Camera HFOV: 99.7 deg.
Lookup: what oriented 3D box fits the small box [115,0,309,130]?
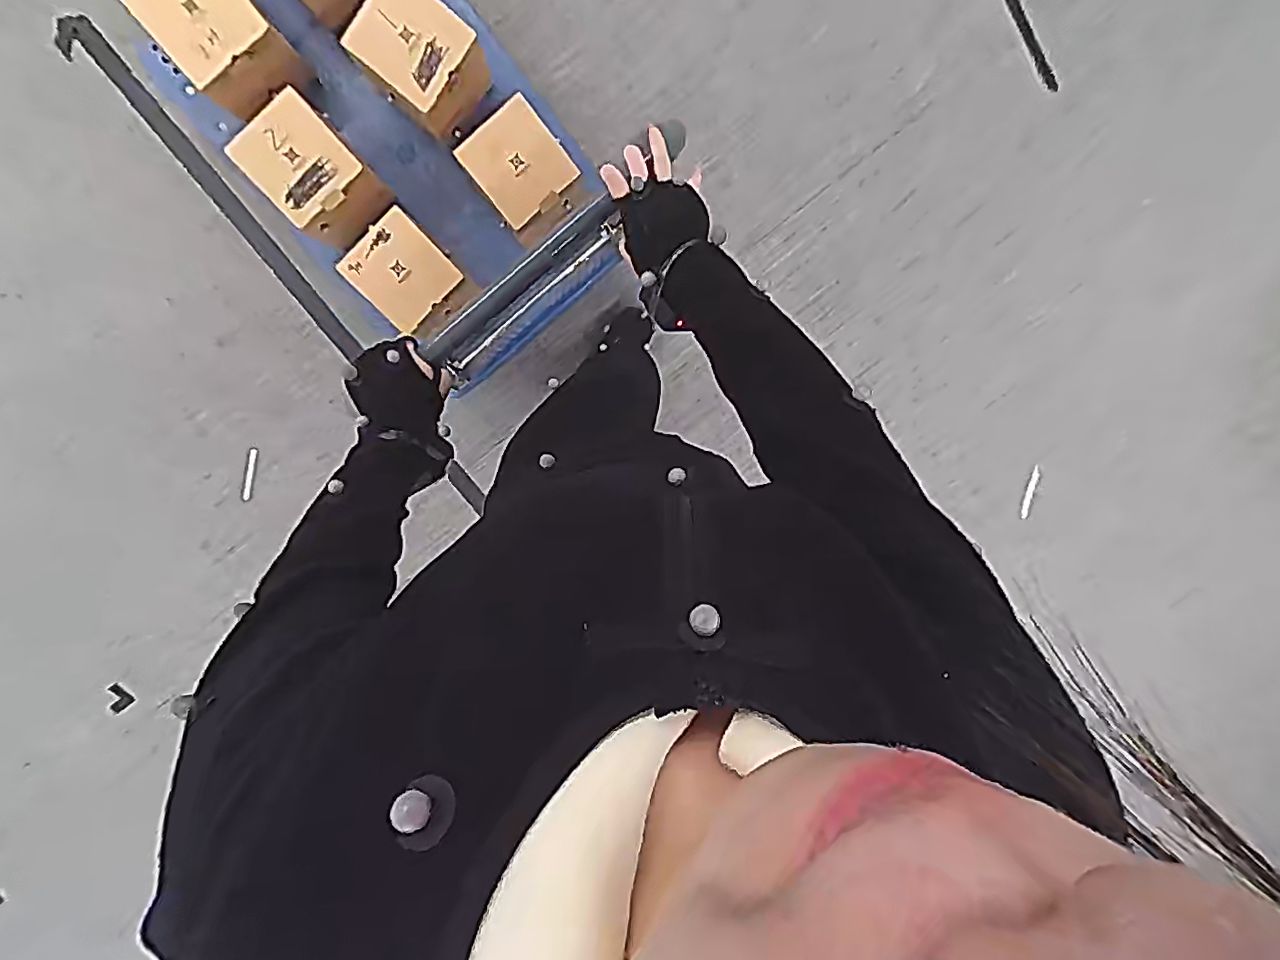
[{"bbox_3d":[-0.753,-0.785,0.973,0.168,0.176,0.179,-39,105,3],"label":"small box"}]

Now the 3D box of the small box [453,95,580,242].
[{"bbox_3d":[-0.236,-0.602,1.078,0.168,0.176,0.179,-41,103,3],"label":"small box"}]

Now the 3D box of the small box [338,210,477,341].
[{"bbox_3d":[-0.456,-0.403,1.095,0.168,0.176,0.179,-45,104,3],"label":"small box"}]

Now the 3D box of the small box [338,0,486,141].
[{"bbox_3d":[-0.413,-0.779,1.016,0.179,0.176,0.168,36,96,-12],"label":"small box"}]

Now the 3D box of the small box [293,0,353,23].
[{"bbox_3d":[-0.602,-0.965,0.952,0.168,0.176,0.179,-44,104,4],"label":"small box"}]
